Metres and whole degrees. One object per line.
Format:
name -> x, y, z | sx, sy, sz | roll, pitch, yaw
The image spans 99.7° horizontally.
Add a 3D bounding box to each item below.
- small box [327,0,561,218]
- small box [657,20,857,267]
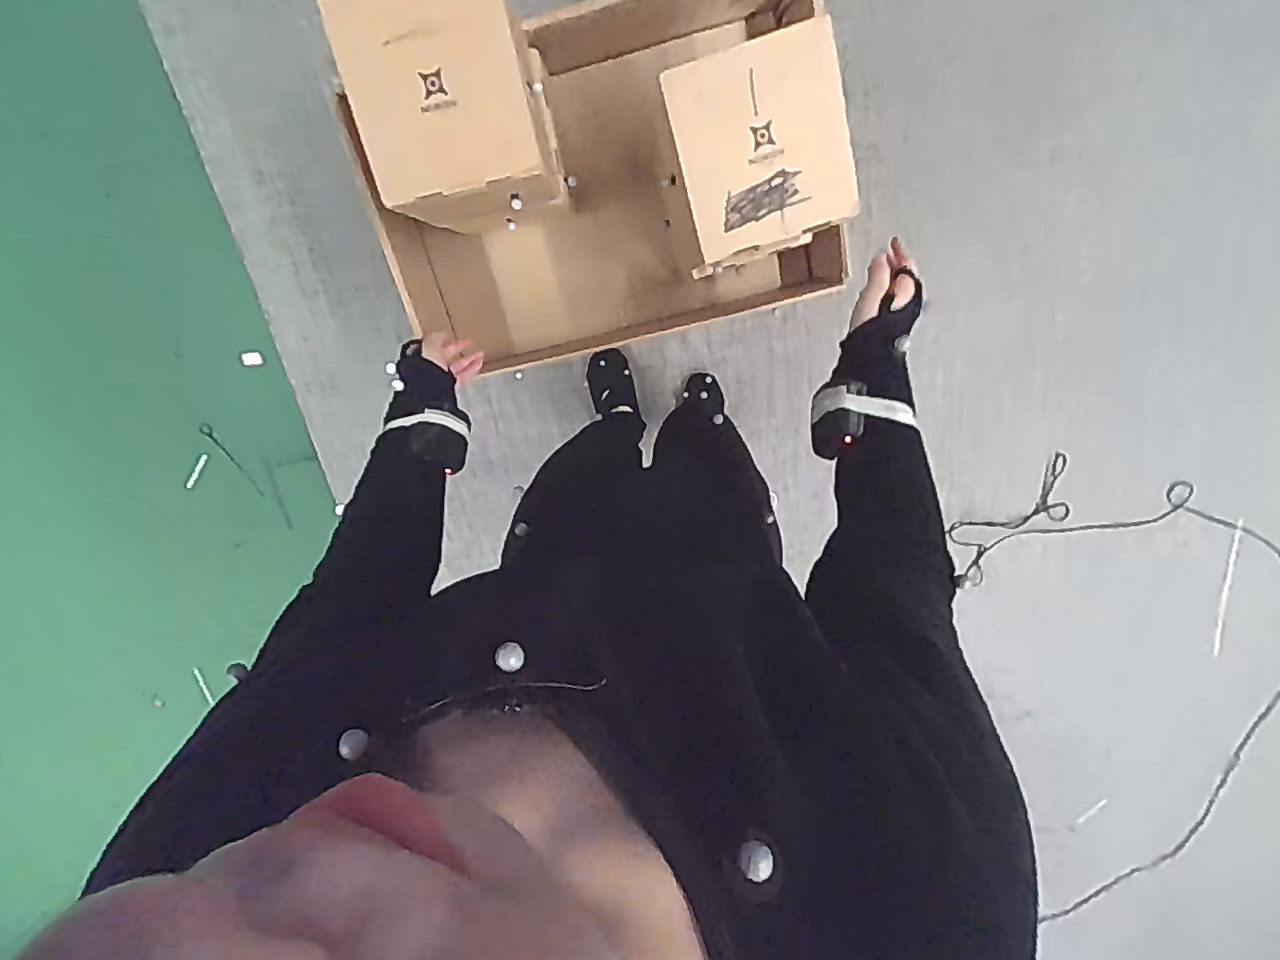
small box -> -0.189, -0.394, 0.586 | 0.168, 0.176, 0.179 | -11, 109, 2
small box -> 0.120, -0.350, 0.604 | 0.168, 0.176, 0.179 | -16, 109, 5
